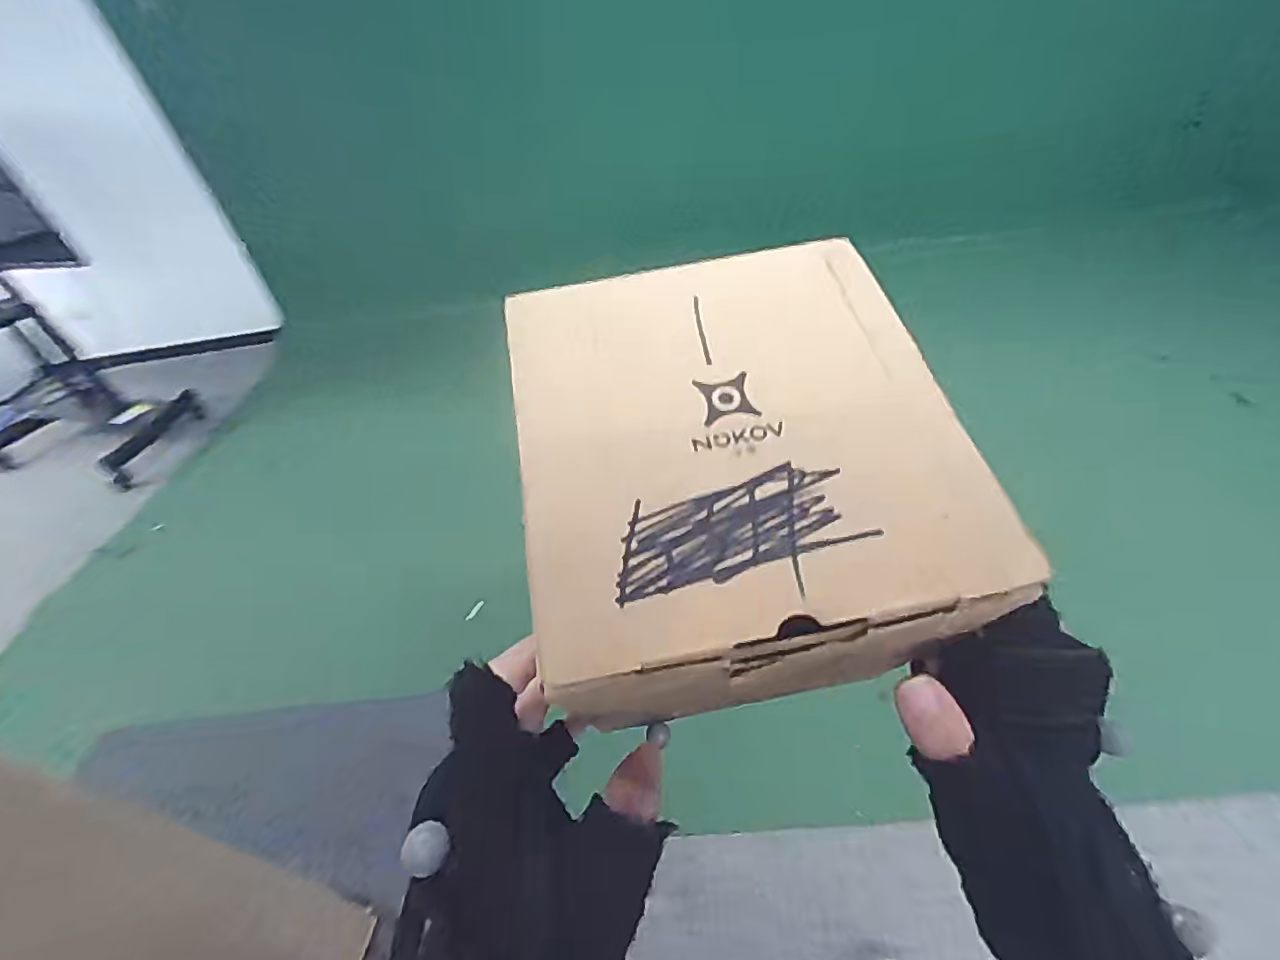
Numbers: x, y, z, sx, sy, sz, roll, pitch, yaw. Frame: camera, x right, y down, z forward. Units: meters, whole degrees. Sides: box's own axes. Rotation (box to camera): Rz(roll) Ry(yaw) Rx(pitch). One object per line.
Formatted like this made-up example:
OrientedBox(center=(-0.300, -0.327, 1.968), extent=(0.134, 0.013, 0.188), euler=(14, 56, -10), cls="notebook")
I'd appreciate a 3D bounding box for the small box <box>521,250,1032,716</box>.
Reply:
OrientedBox(center=(0.044, 0.018, 0.286), extent=(0.168, 0.176, 0.179), euler=(-11, 61, 0), cls="small box")
